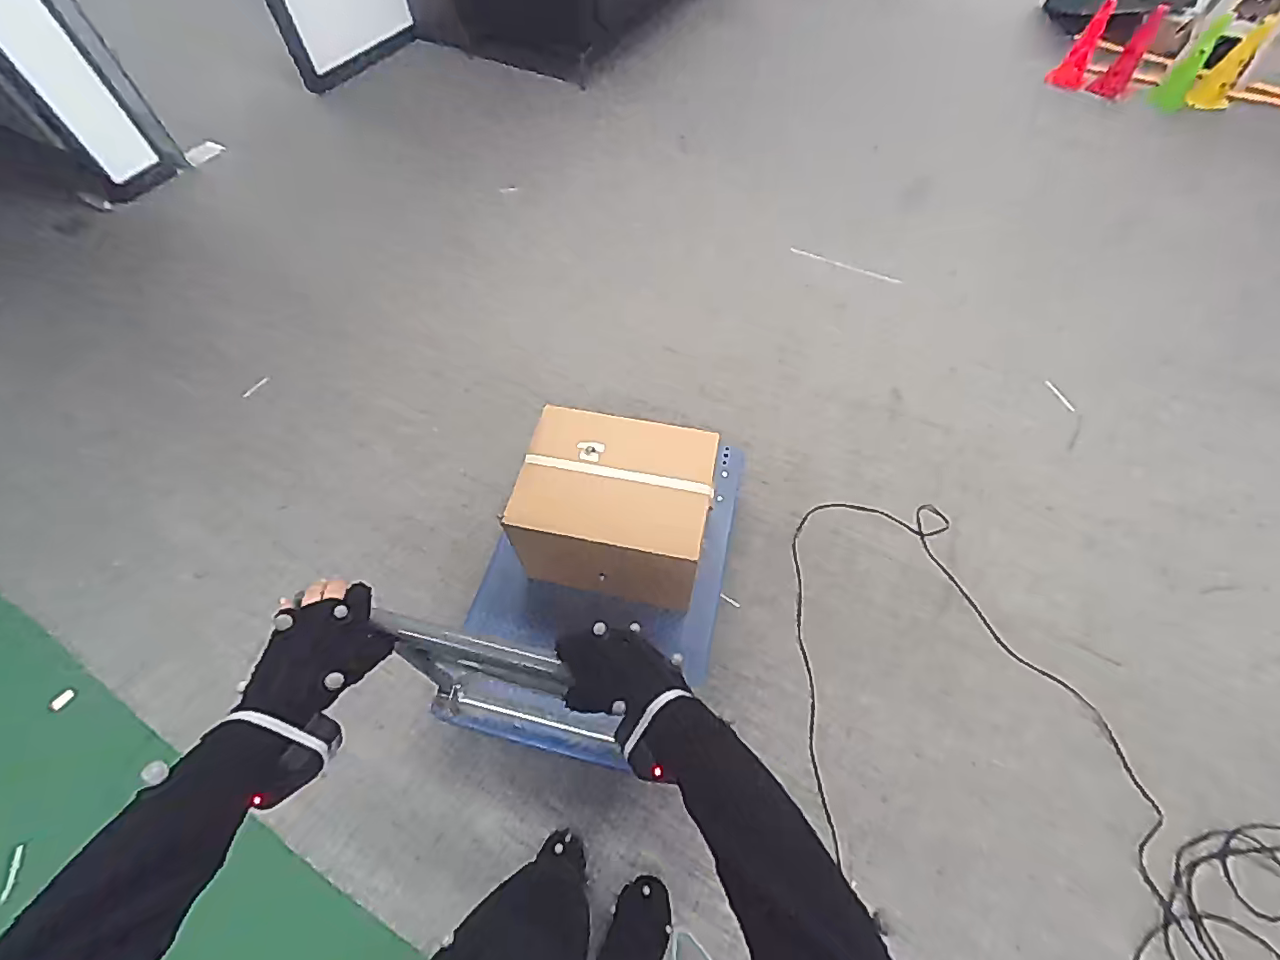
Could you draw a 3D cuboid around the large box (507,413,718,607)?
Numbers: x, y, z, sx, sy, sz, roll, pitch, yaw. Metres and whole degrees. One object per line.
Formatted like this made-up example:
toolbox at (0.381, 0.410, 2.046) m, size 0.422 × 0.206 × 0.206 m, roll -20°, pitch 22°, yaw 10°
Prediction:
large box at (-0.042, 0.078, 1.272) m, size 0.408 × 0.320 × 0.320 m, roll 9°, pitch 58°, yaw 7°
